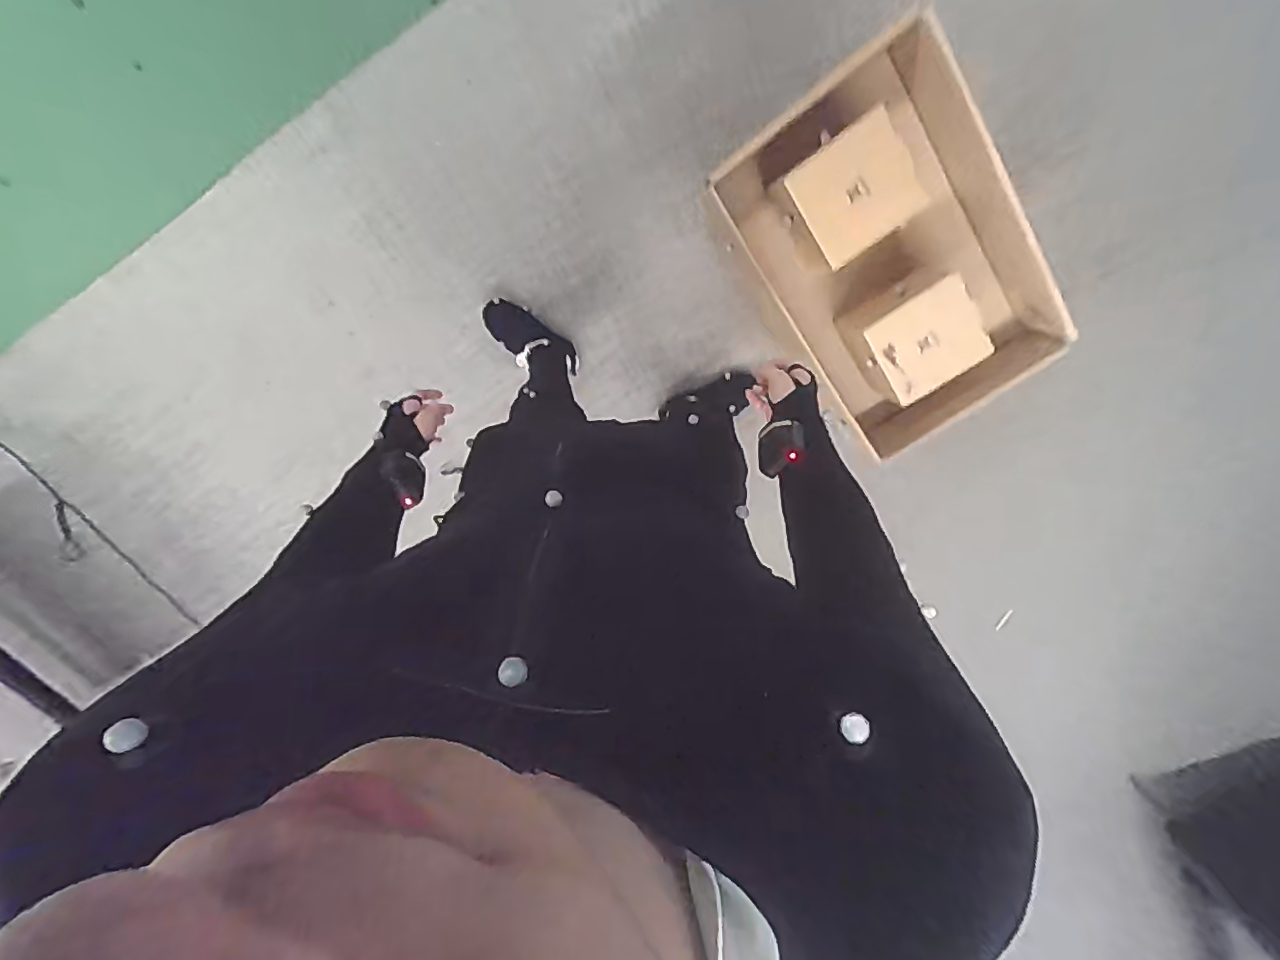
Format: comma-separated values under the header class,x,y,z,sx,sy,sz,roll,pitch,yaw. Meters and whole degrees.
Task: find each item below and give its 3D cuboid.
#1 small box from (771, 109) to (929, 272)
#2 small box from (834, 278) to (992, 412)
class,x,y,z,sx,sy,sz,roll,pitch,yaw
small box,0.341,-0.474,0.919,0.179,0.176,0.168,-34,107,12
small box,0.495,-0.257,1.004,0.179,0.176,0.168,-32,108,12
